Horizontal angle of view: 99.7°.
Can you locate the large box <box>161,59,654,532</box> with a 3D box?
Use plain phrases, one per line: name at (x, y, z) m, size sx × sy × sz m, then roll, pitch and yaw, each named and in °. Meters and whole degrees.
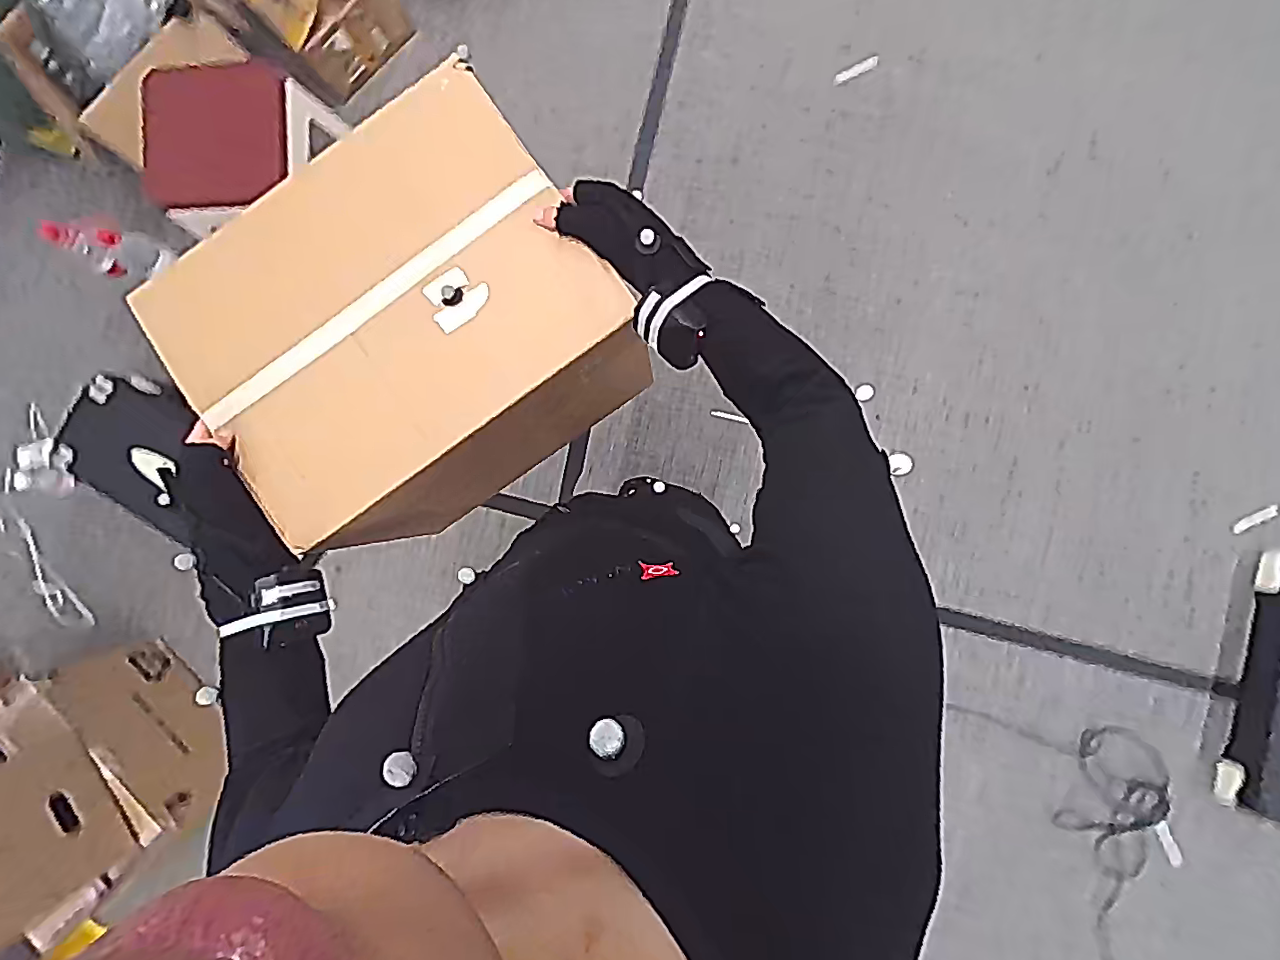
large box at (-0.232, -0.174, 0.676) m, size 0.408 × 0.320 × 0.320 m, roll -34°, pitch 86°, yaw 1°
